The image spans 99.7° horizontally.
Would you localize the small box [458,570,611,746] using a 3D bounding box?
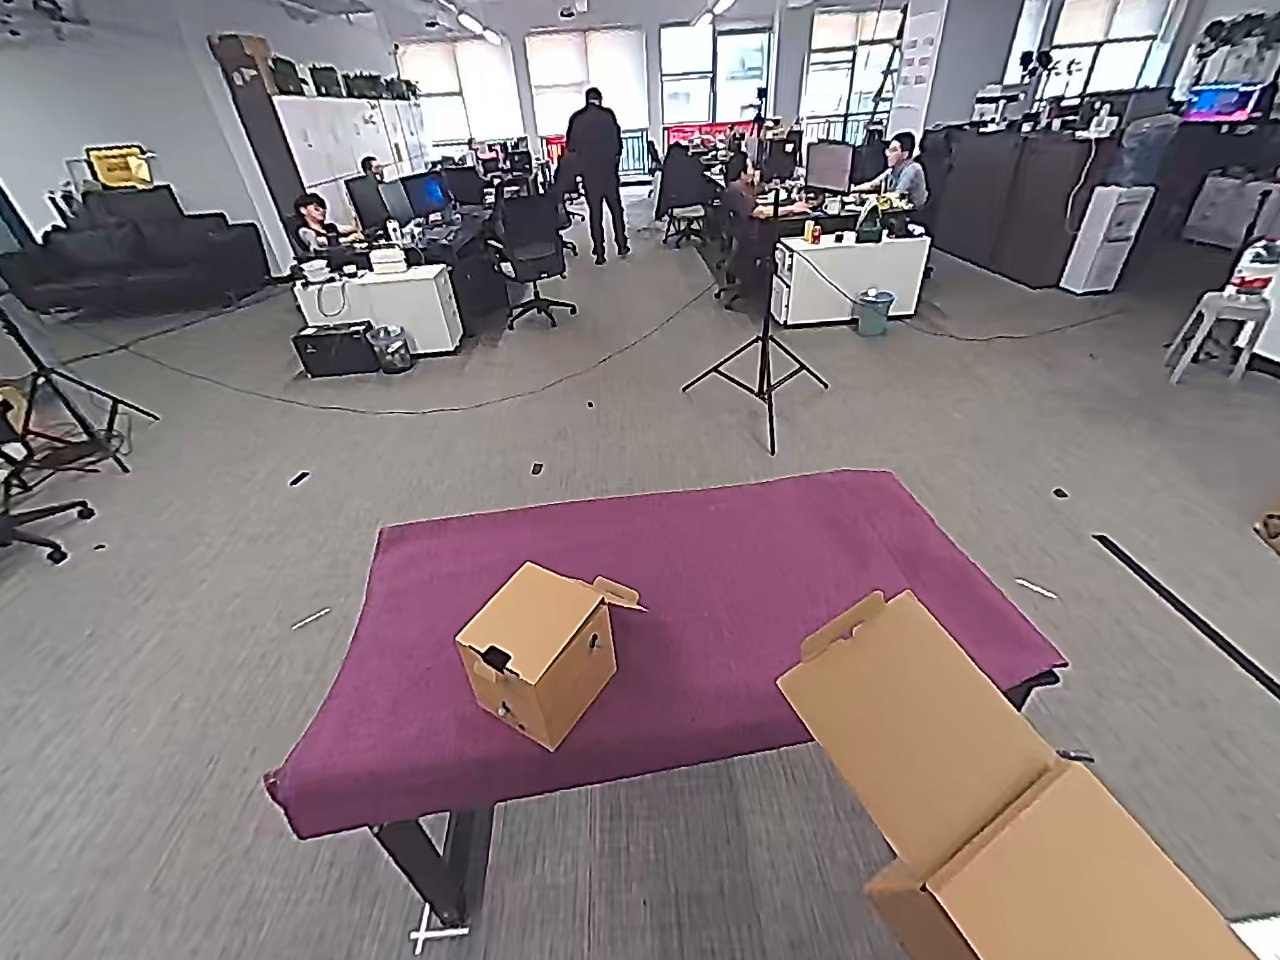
[{"bbox_3d":[-0.160,0.285,0.881,0.168,0.176,0.179,16,39,29],"label":"small box"}]
